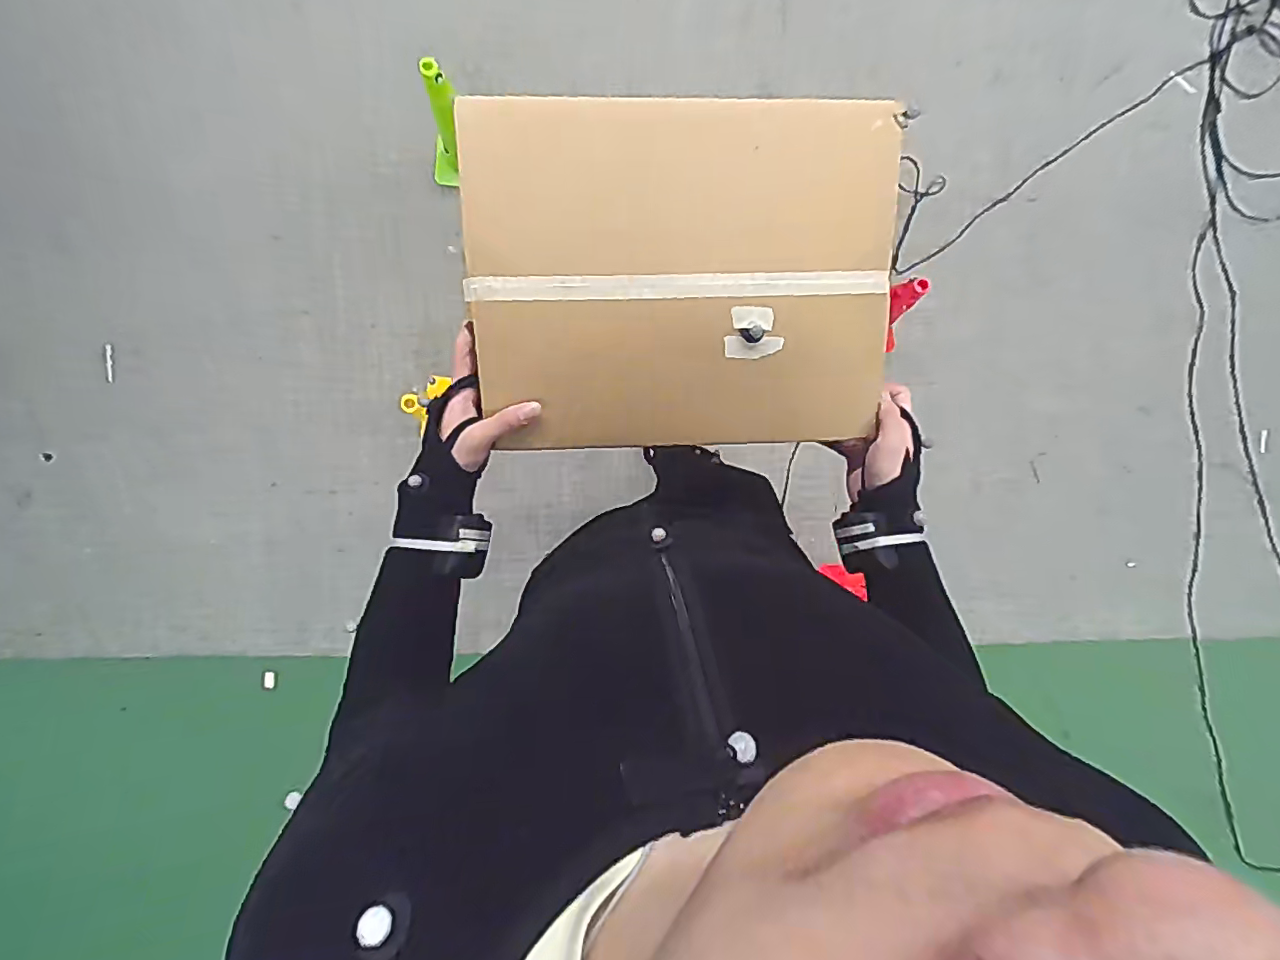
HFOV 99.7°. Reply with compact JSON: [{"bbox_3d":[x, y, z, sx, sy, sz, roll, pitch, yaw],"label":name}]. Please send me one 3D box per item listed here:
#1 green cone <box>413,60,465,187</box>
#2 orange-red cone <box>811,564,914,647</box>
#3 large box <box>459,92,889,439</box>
[{"bbox_3d":[-0.494,-0.934,1.382,0.200,0.368,0.202,5,94,-1],"label":"green cone"},{"bbox_3d":[0.632,0.368,1.465,0.199,0.360,0.198,7,93,-3],"label":"orange-red cone"},{"bbox_3d":[0.027,-0.237,0.670,0.408,0.320,0.320,-3,105,-5],"label":"large box"}]
